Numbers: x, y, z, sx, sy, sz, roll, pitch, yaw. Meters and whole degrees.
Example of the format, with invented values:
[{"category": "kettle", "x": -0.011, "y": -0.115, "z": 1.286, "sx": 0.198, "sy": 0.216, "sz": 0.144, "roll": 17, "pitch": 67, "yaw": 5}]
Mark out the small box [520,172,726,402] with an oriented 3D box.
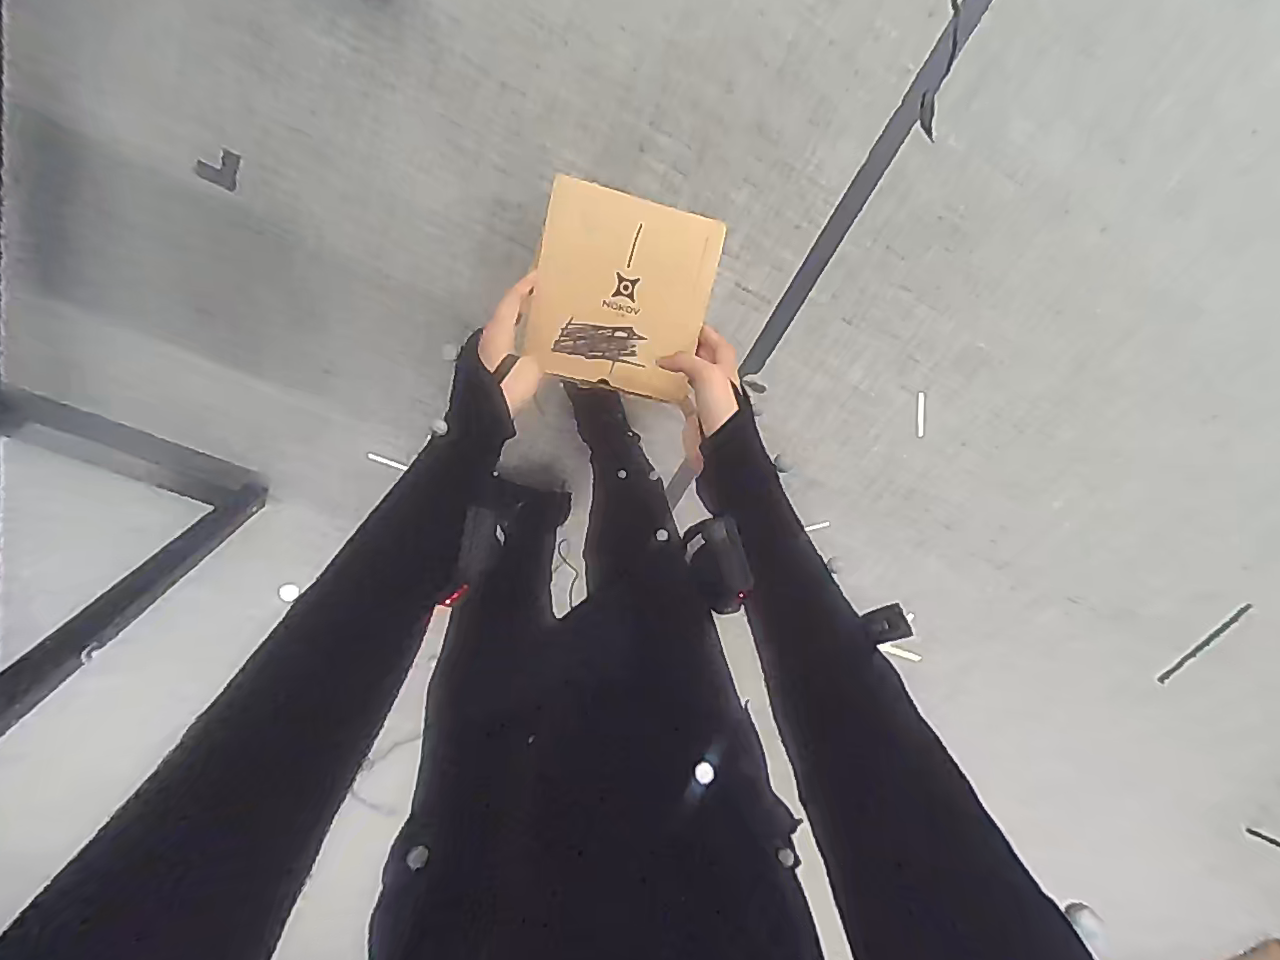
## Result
[{"category": "small box", "x": -0.025, "y": -0.196, "z": 0.585, "sx": 0.168, "sy": 0.176, "sz": 0.179, "roll": 11, "pitch": 104, "yaw": -10}]
